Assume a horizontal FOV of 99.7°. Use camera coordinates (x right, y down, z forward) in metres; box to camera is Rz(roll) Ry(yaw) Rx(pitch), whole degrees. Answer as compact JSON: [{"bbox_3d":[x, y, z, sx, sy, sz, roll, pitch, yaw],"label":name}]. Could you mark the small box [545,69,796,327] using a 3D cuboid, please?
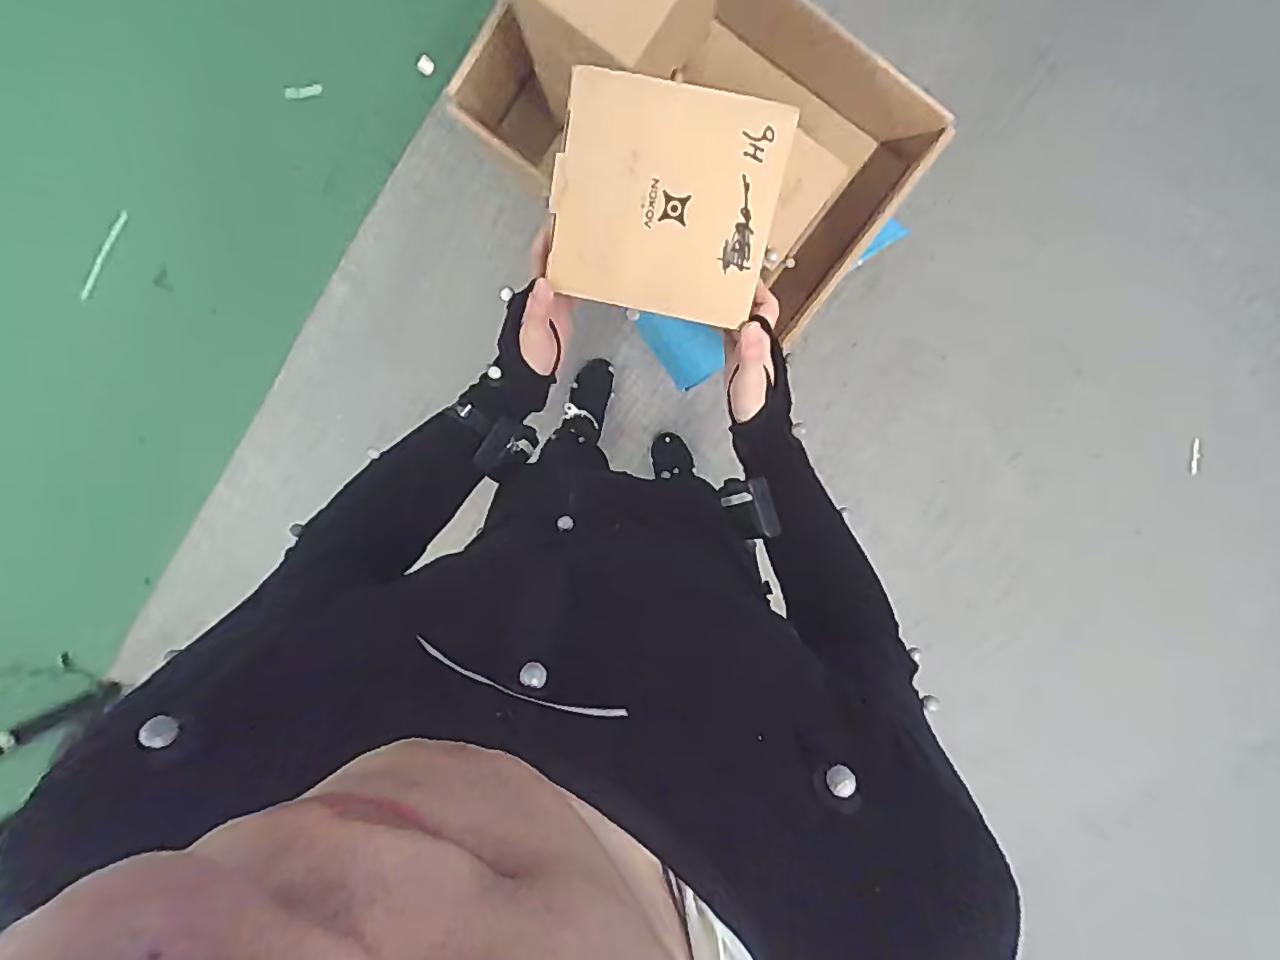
[{"bbox_3d":[0.027,-0.245,0.507,0.179,0.176,0.168,12,110,3],"label":"small box"}]
